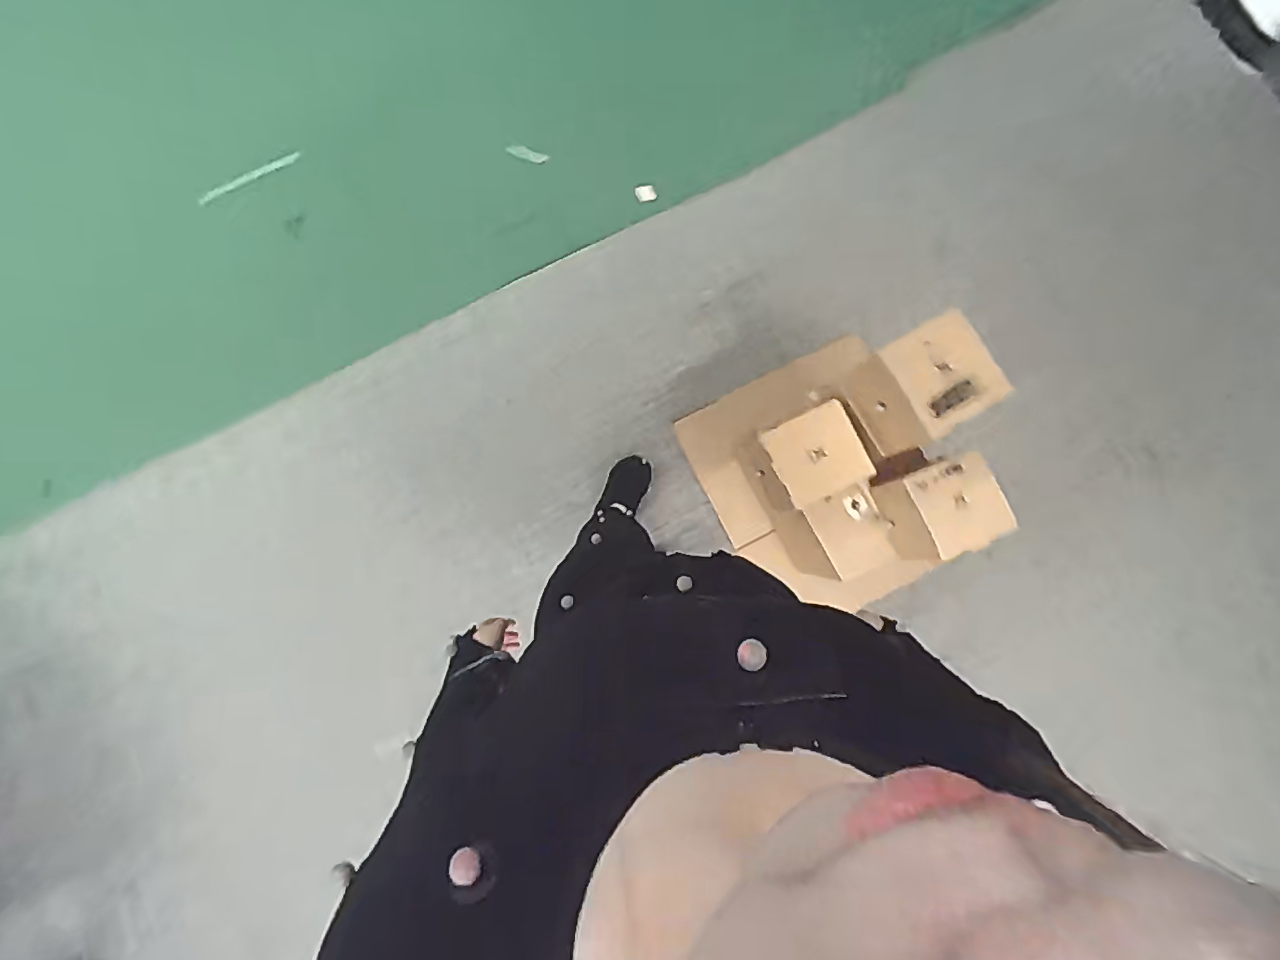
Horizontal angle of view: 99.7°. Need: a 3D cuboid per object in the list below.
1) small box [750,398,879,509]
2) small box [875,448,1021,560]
[{"bbox_3d":[0.353,-0.048,1.124,0.179,0.176,0.168,-26,86,-1],"label":"small box"},{"bbox_3d":[0.622,0.053,1.115,0.168,0.176,0.179,-22,83,-2],"label":"small box"}]
